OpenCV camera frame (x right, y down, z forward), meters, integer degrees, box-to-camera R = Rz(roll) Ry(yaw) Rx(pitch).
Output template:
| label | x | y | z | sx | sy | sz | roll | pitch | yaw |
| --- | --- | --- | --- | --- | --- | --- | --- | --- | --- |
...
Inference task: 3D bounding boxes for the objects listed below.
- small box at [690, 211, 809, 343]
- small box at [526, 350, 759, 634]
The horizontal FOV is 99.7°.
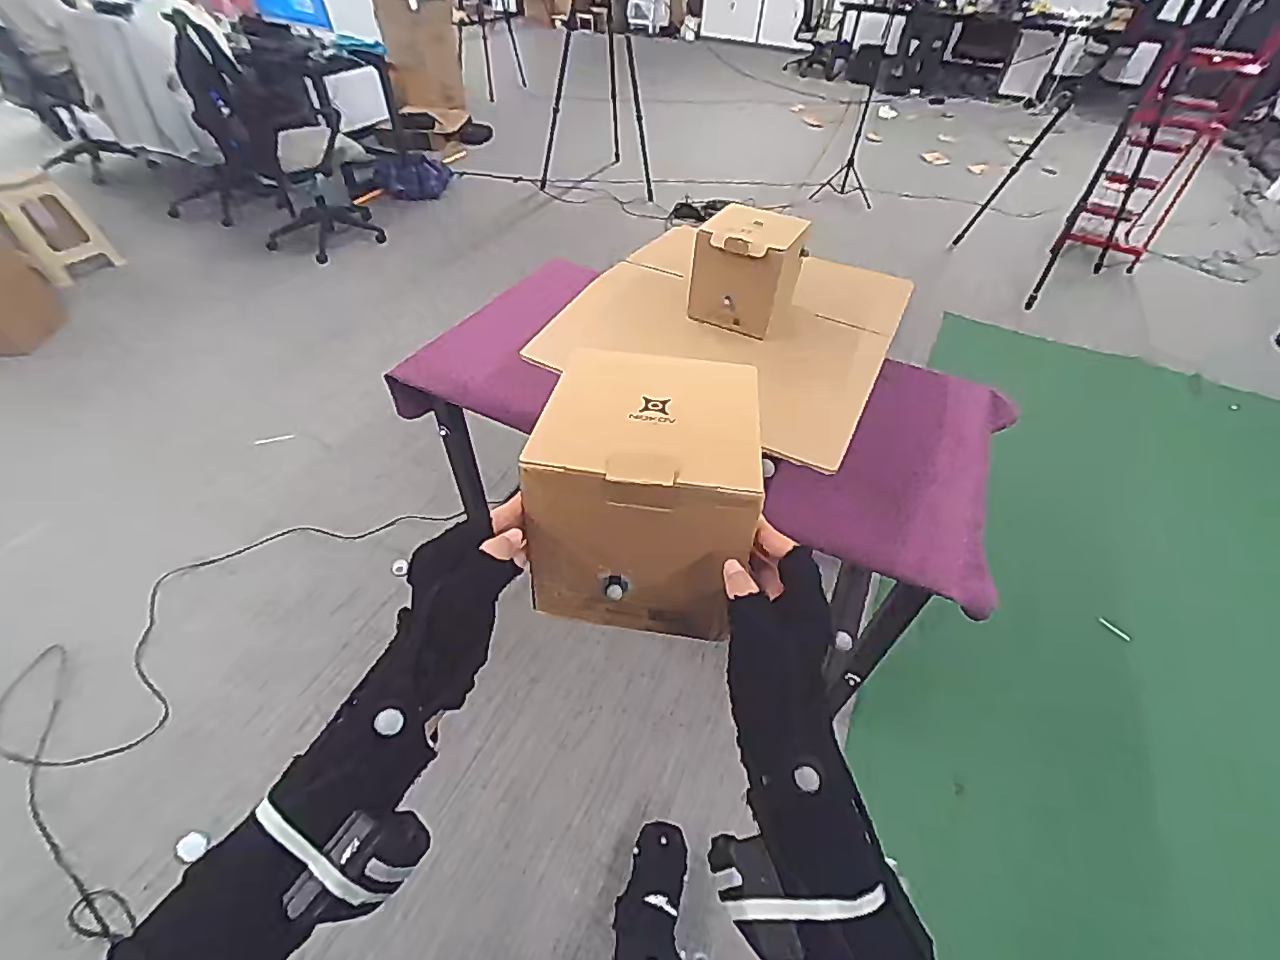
| label | x | y | z | sx | sy | sz | roll | pitch | yaw |
| --- | --- | --- | --- | --- | --- | --- | --- | --- | --- |
| small box | 0.207 | -0.396 | 1.055 | 0.168 | 0.176 | 0.179 | 23 | 48 | 18 |
| small box | 0.006 | 0.007 | 0.481 | 0.168 | 0.176 | 0.179 | 7 | 41 | 4 |
